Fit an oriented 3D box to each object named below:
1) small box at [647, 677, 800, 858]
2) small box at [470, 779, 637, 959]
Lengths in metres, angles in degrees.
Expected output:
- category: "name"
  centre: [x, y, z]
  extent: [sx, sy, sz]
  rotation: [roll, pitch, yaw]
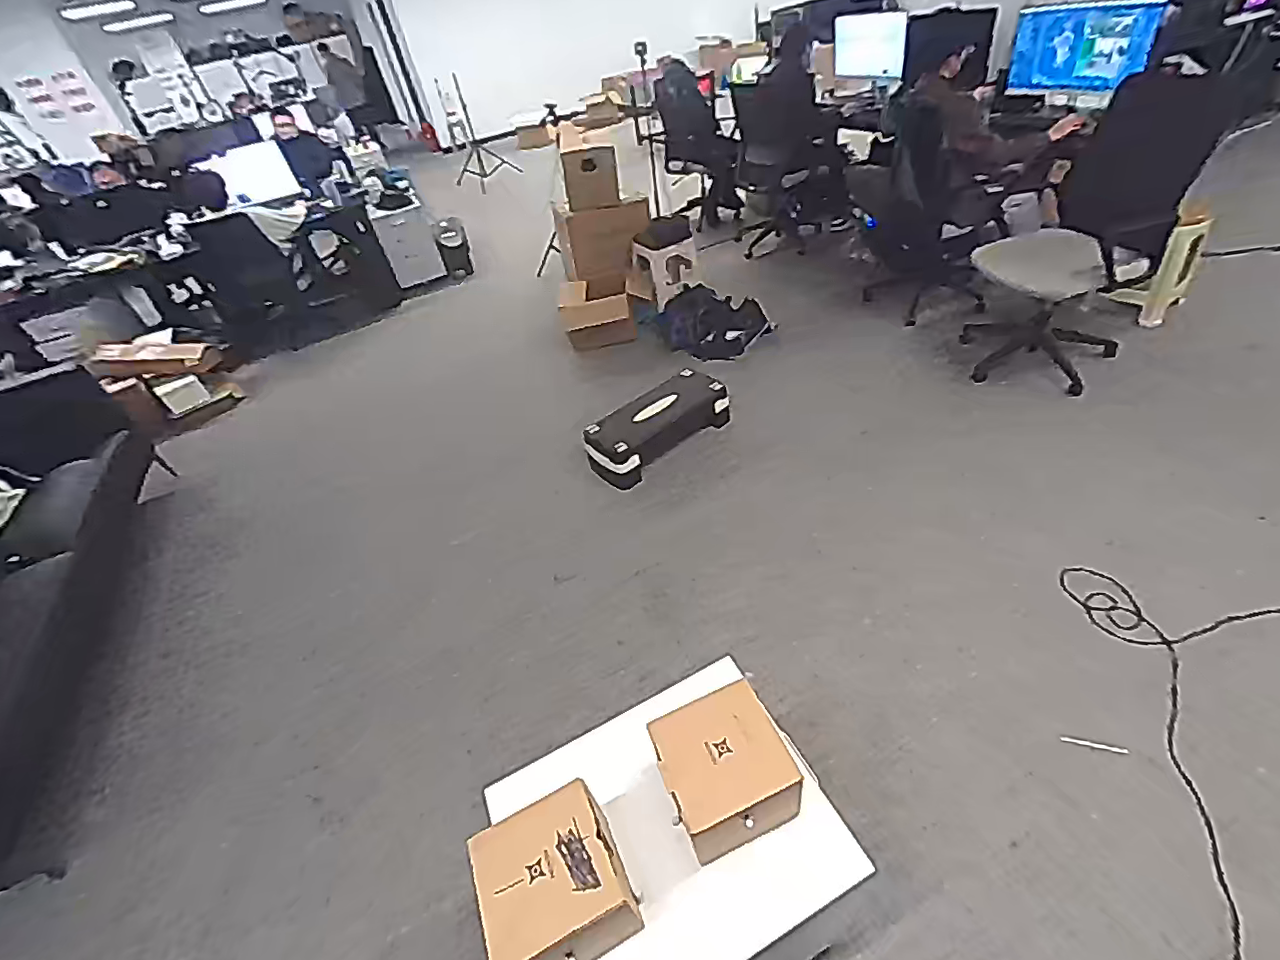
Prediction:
- category: "small box"
  centre: [0.130, 0.448, 0.840]
  extent: [0.179, 0.176, 0.168]
  rotation: [-21, 44, -10]
- category: "small box"
  centre: [-0.114, 0.570, 0.764]
  extent: [0.179, 0.176, 0.168]
  rotation: [-24, 42, -12]
